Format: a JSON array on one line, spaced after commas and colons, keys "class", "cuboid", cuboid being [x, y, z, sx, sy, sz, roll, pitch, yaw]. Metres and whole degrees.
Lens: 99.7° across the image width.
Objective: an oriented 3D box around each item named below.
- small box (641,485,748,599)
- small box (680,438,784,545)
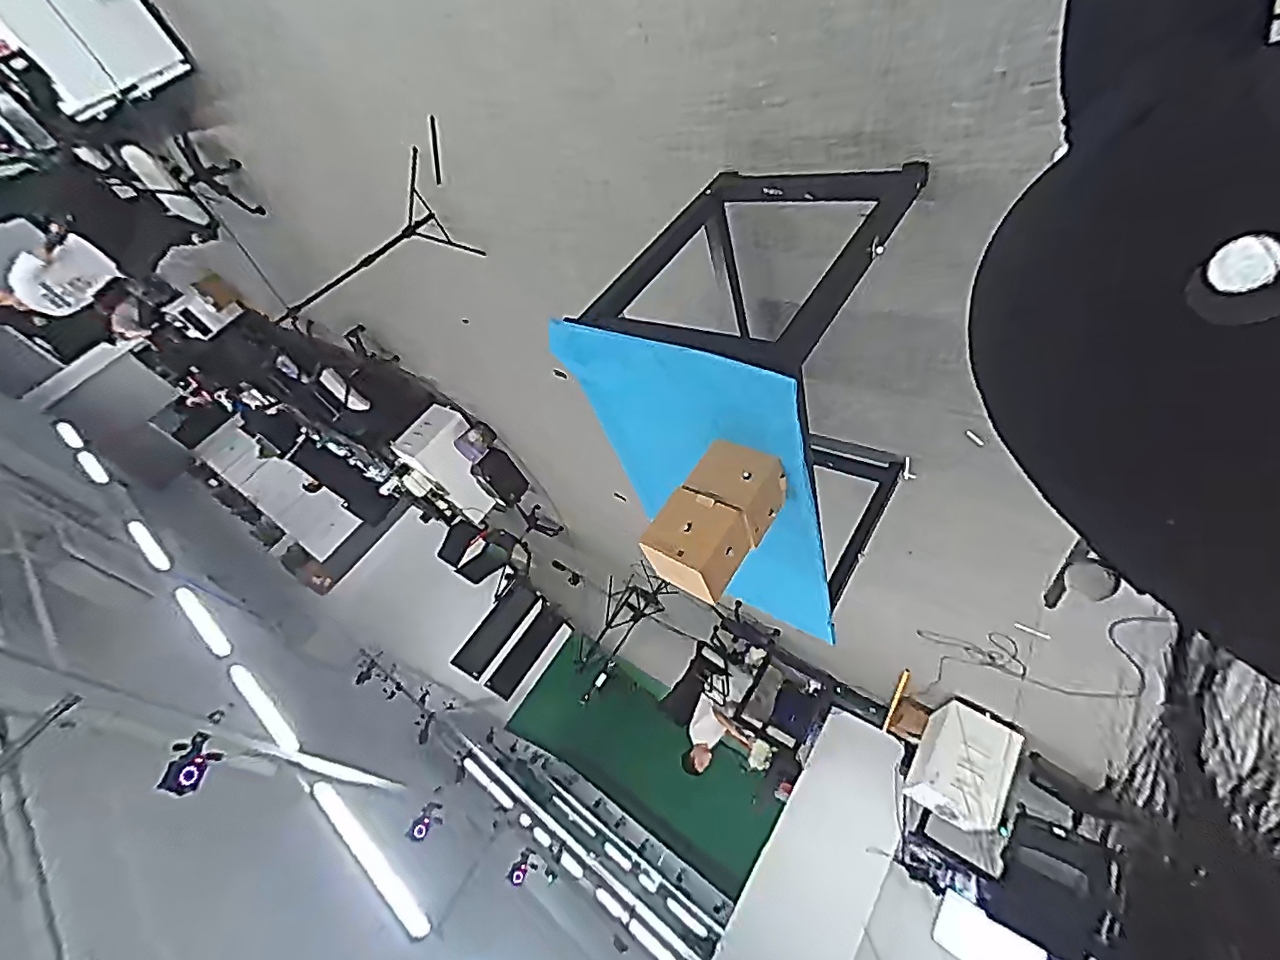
[{"class": "small box", "cuboid": [0.124, 0.146, 1.238, 0.168, 0.176, 0.179, 23, 157, 33]}, {"class": "small box", "cuboid": [0.222, 0.030, 1.301, 0.179, 0.176, 0.168, 21, 153, 34]}]
